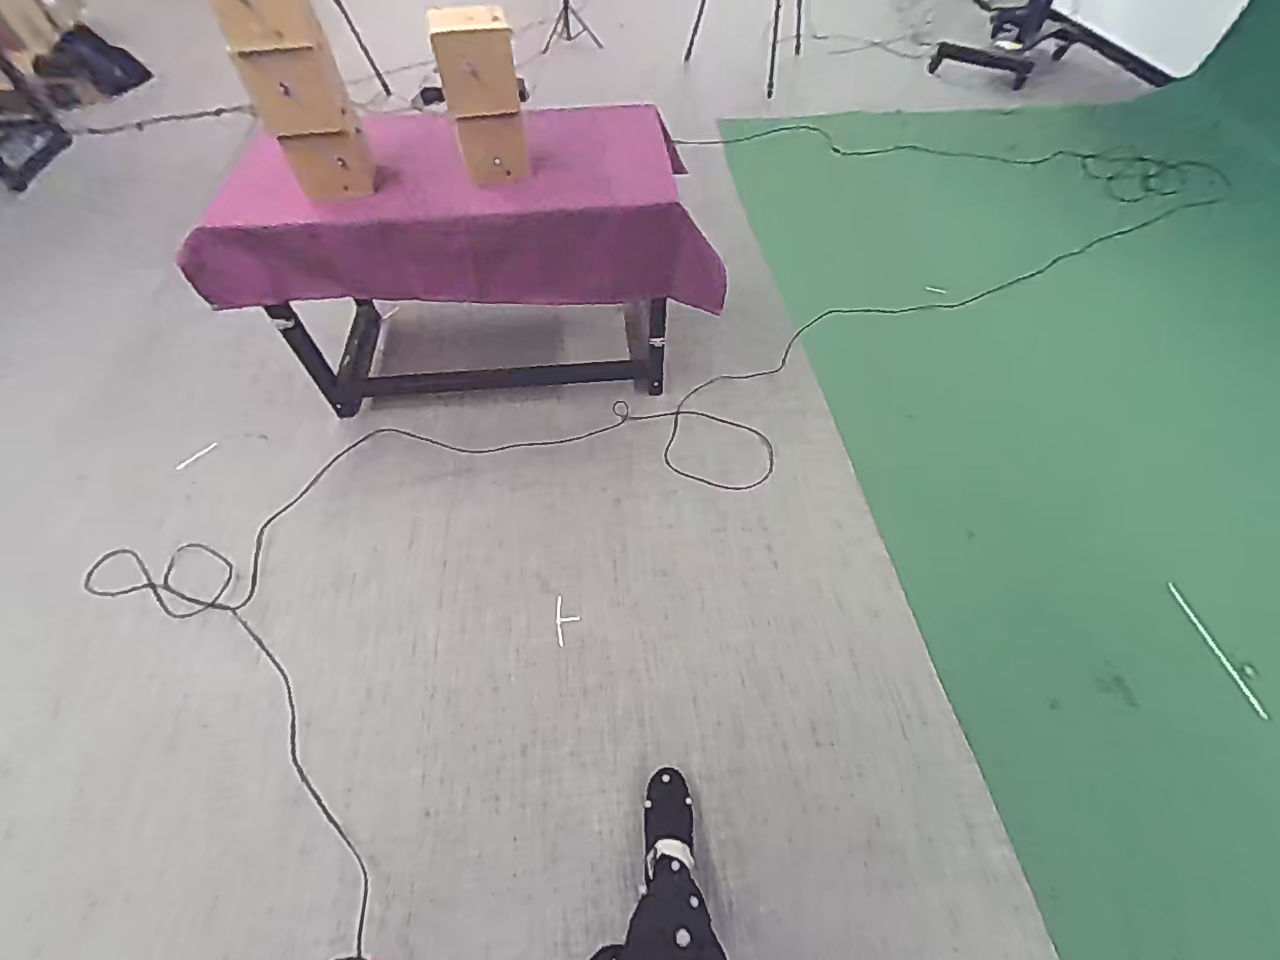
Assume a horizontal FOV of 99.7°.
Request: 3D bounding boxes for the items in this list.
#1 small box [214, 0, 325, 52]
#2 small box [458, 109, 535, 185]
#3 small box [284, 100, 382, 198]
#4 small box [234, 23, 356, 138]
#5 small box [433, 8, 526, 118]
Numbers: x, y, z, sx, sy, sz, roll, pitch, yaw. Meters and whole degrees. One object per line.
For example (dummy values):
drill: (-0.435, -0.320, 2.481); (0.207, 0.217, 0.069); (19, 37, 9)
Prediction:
small box: (-0.773, -1.008, 1.114); (0.168, 0.176, 0.179); (-13, 56, -10)
small box: (-0.388, -0.919, 1.445); (0.168, 0.176, 0.179); (-15, 56, -10)
small box: (-0.785, -0.851, 1.402); (0.168, 0.176, 0.179); (-10, 55, -8)
small box: (-0.784, -0.923, 1.253); (0.179, 0.176, 0.168); (-10, 56, -7)
small box: (-0.383, -0.998, 1.300); (0.179, 0.176, 0.168); (-11, 56, -7)
